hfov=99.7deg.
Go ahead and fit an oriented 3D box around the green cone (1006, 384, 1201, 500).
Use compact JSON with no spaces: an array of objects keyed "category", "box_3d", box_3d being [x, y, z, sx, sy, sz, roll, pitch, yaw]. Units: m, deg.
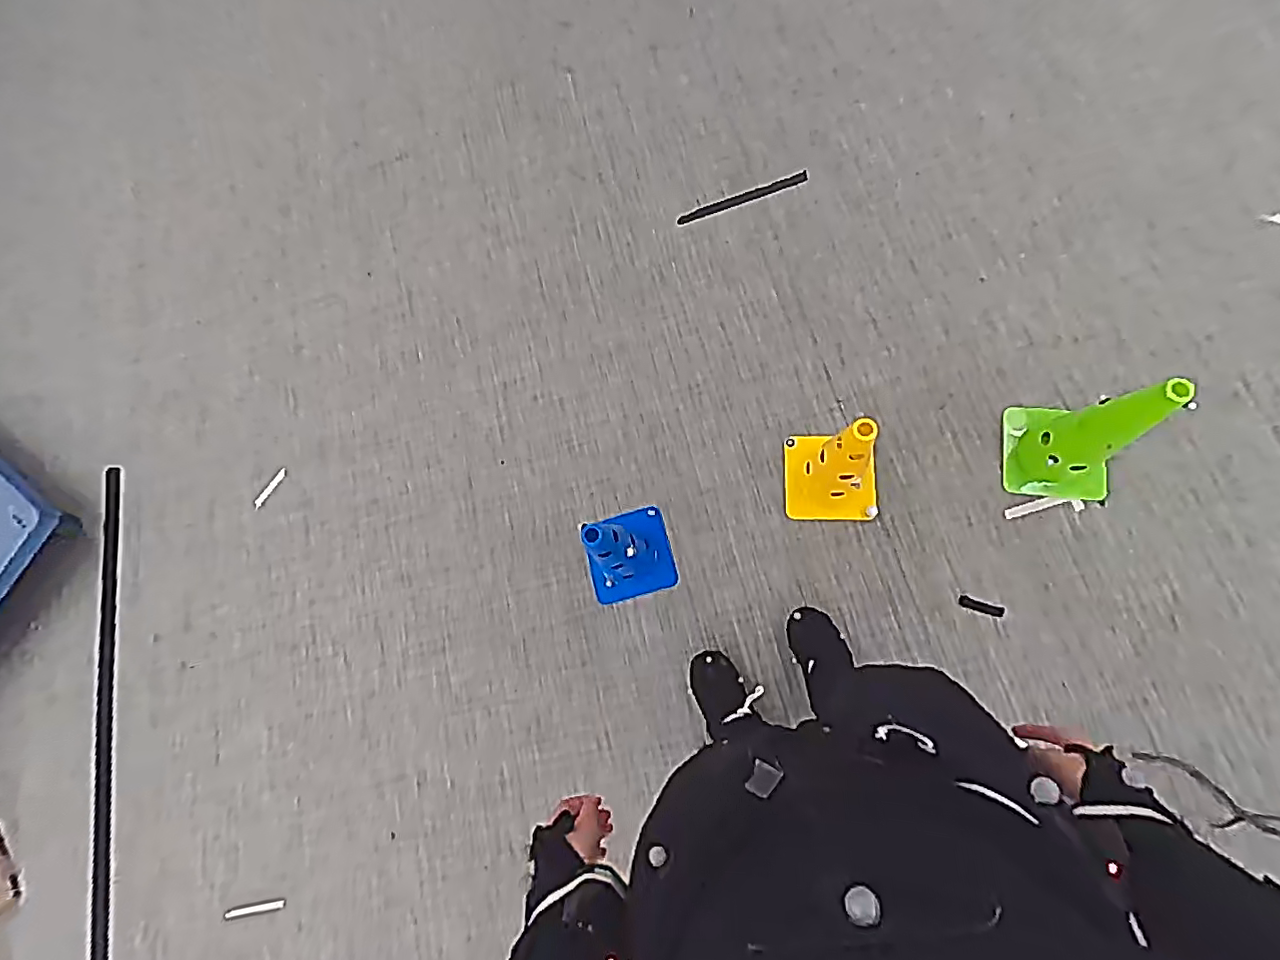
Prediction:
[{"category":"green cone","box_3d":[0.876,-0.098,1.011,0.200,0.368,0.202,5,78,12]}]
